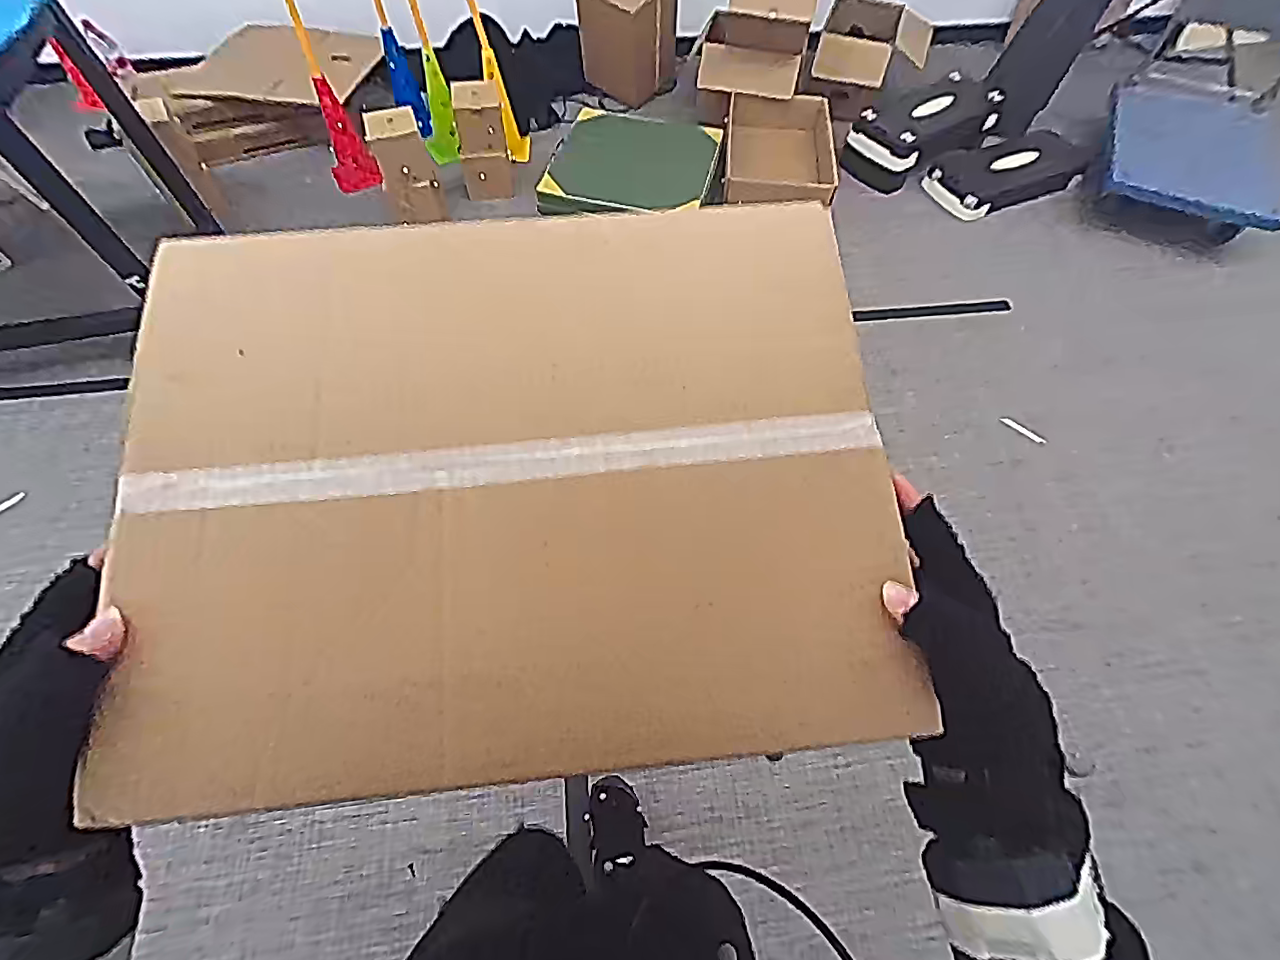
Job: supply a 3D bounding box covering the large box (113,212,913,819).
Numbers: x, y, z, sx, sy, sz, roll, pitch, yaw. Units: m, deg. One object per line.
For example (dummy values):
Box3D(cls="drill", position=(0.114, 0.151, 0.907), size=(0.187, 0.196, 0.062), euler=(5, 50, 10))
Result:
Box3D(cls="large box", position=(-0.073, 0.030, 0.446), size=(0.408, 0.320, 0.320), euler=(-5, 75, -3))
